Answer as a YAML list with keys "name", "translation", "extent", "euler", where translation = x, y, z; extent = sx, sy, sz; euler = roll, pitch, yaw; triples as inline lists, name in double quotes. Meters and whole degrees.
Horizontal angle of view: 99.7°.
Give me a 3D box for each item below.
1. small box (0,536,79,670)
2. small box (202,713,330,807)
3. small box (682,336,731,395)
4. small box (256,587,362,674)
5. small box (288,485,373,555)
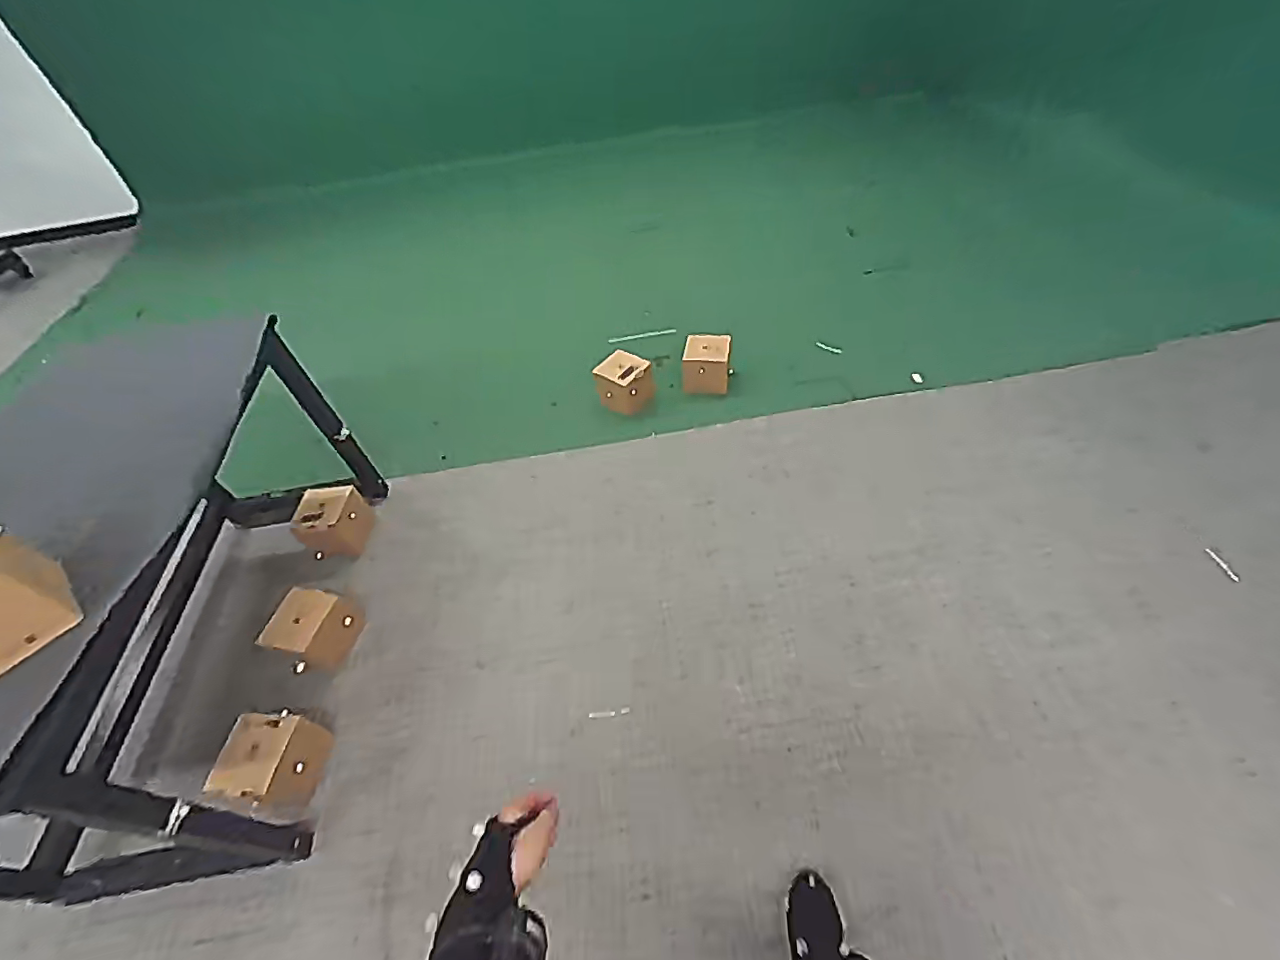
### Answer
- name: "small box"
  translation: [-1.042, 0.191, 0.837]
  extent: [0.179, 0.176, 0.168]
  euler: [30, 59, 28]
- name: "small box"
  translation: [-0.915, 0.700, 1.347]
  extent: [0.168, 0.176, 0.179]
  euler: [0, 50, 7]
- name: "small box"
  translation: [0.270, -0.461, 2.182]
  extent: [0.179, 0.176, 0.168]
  euler: [6, 51, 11]
- name: "small box"
  translation: [-0.948, 0.439, 1.573]
  extent: [0.168, 0.176, 0.179]
  euler: [6, 52, 13]
- name: "small box"
  translation: [-1.040, 0.142, 1.836]
  extent: [0.168, 0.176, 0.179]
  euler: [-5, 48, 2]
